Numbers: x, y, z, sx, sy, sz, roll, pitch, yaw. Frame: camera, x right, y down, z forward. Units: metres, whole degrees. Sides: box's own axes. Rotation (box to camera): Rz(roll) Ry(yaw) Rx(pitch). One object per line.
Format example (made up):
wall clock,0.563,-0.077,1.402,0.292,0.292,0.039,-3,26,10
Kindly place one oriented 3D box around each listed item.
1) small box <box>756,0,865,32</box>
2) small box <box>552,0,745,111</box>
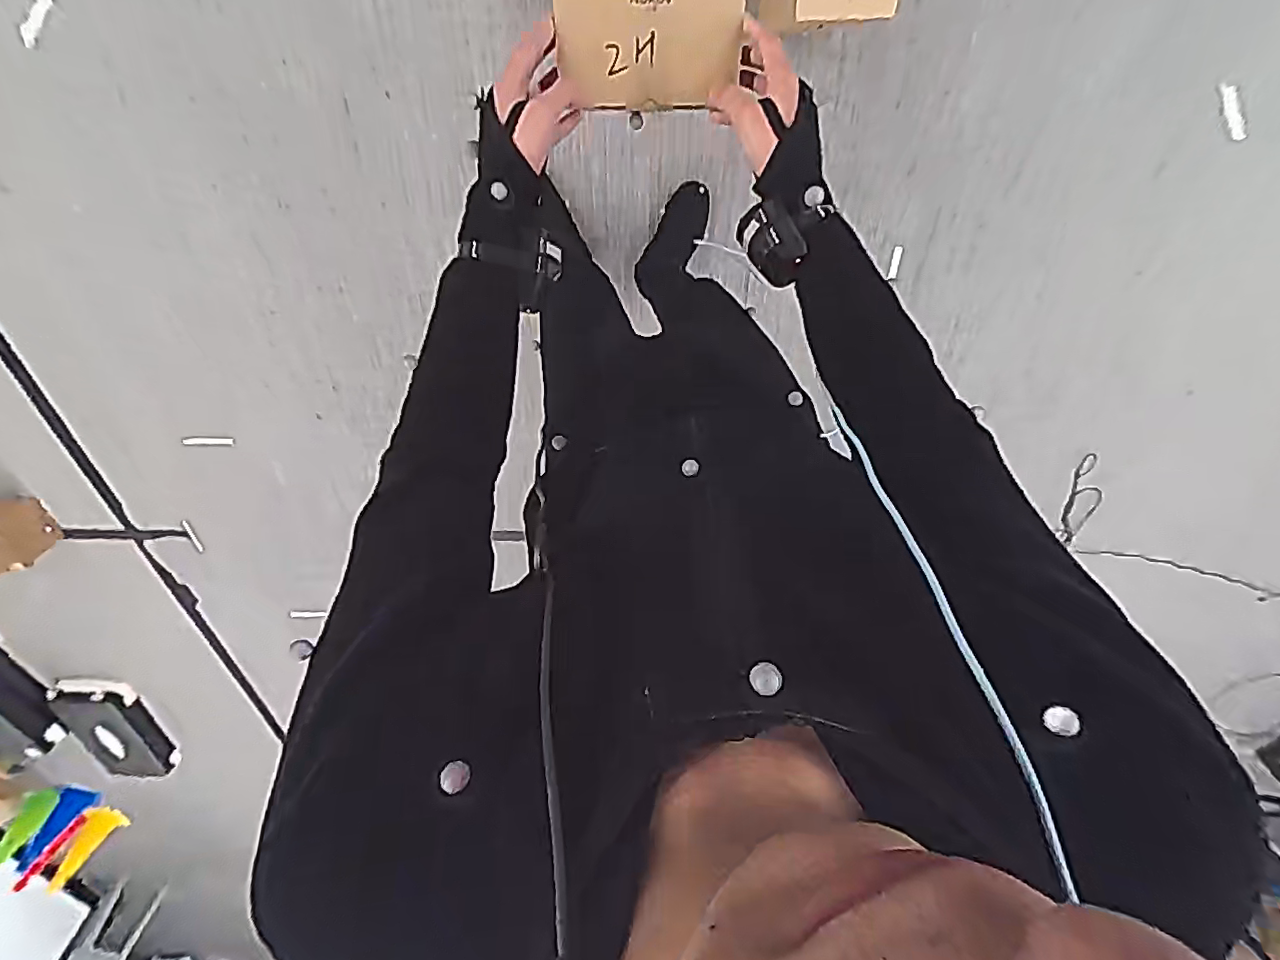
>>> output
small box,0.329,-0.974,1.037,0.179,0.176,0.168,-2,126,-2
small box,0.000,-0.459,0.514,0.168,0.176,0.179,-3,125,-5
